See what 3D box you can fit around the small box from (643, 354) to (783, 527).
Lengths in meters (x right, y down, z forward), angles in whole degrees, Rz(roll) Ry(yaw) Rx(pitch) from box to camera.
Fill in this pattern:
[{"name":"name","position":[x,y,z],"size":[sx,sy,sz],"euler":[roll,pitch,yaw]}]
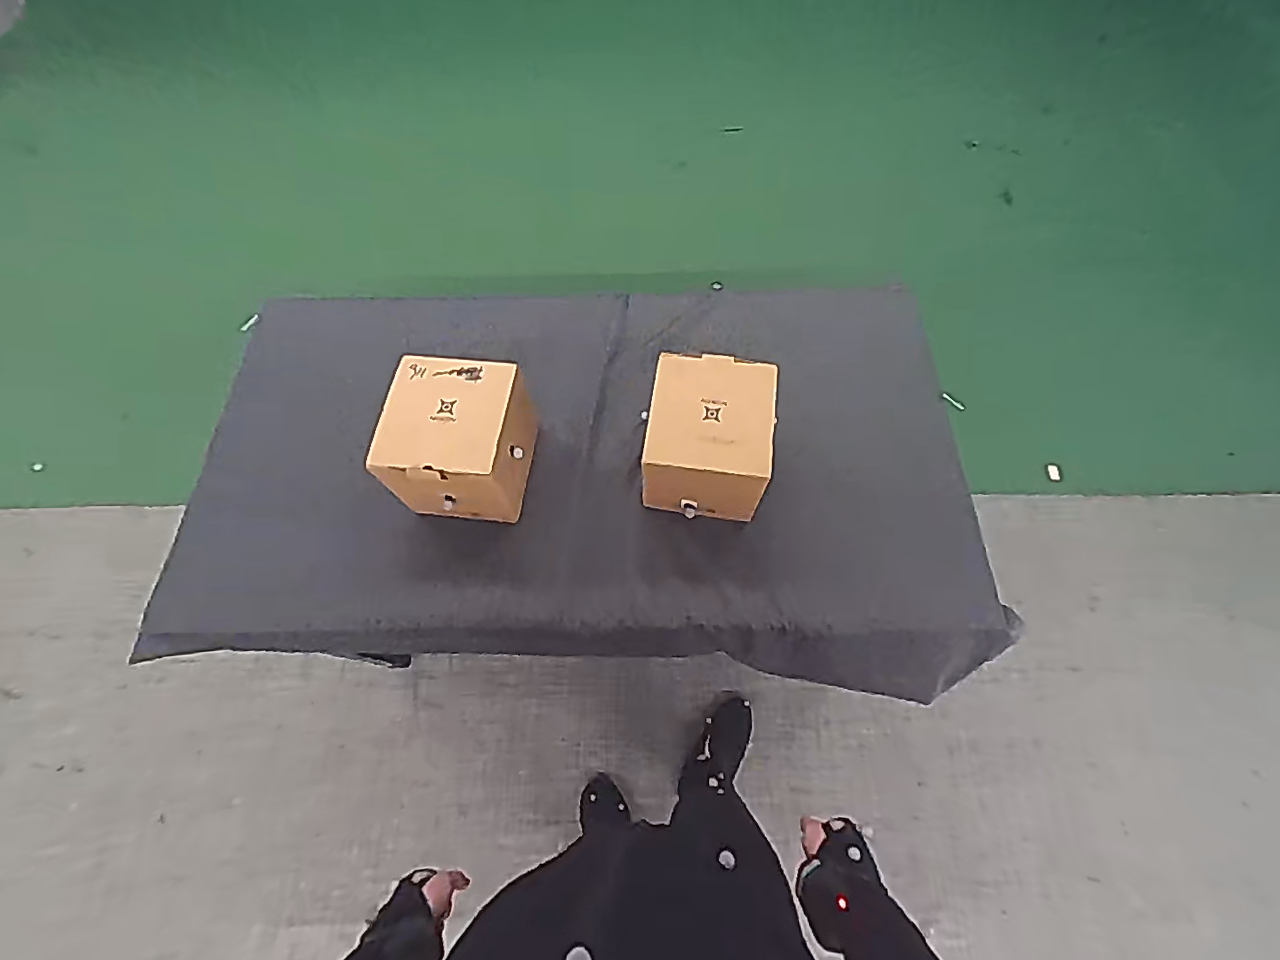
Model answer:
[{"name":"small box","position":[0.101,-0.052,0.775],"size":[0.168,0.176,0.179],"euler":[8,65,7]}]

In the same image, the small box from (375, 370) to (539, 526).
[{"name":"small box","position":[-0.252,-0.041,0.796],"size":[0.168,0.176,0.179],"euler":[2,64,3]}]
